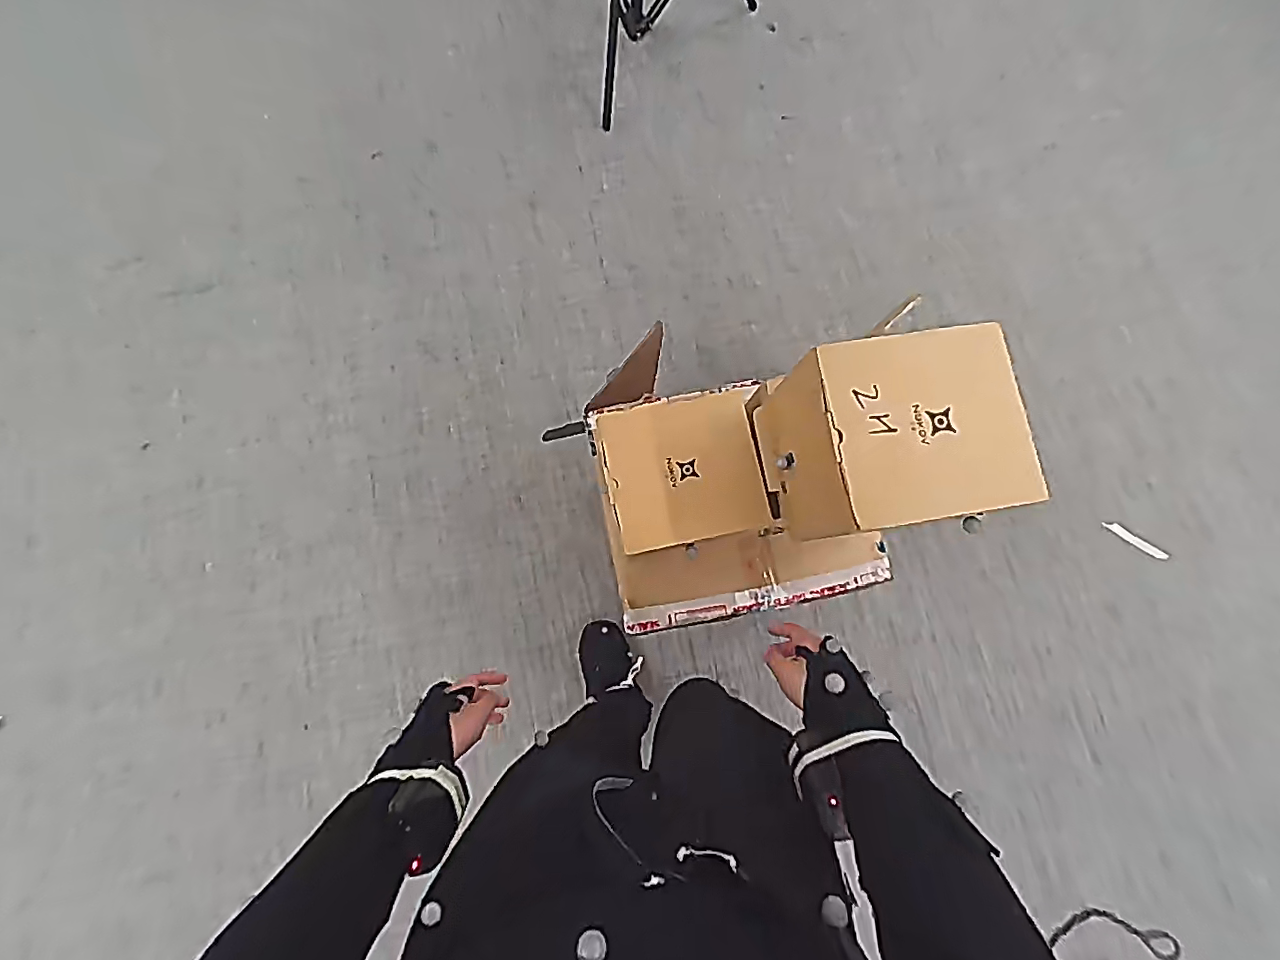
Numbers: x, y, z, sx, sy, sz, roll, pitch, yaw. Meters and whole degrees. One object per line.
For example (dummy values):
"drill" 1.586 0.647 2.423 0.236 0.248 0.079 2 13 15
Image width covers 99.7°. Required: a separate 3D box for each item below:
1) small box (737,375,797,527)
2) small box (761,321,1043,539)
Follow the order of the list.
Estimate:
"small box" 0.232 -0.033 0.707 0.179 0.176 0.168 -6 81 -4
"small box" 0.240 -0.038 0.541 0.179 0.176 0.168 -9 80 -4
